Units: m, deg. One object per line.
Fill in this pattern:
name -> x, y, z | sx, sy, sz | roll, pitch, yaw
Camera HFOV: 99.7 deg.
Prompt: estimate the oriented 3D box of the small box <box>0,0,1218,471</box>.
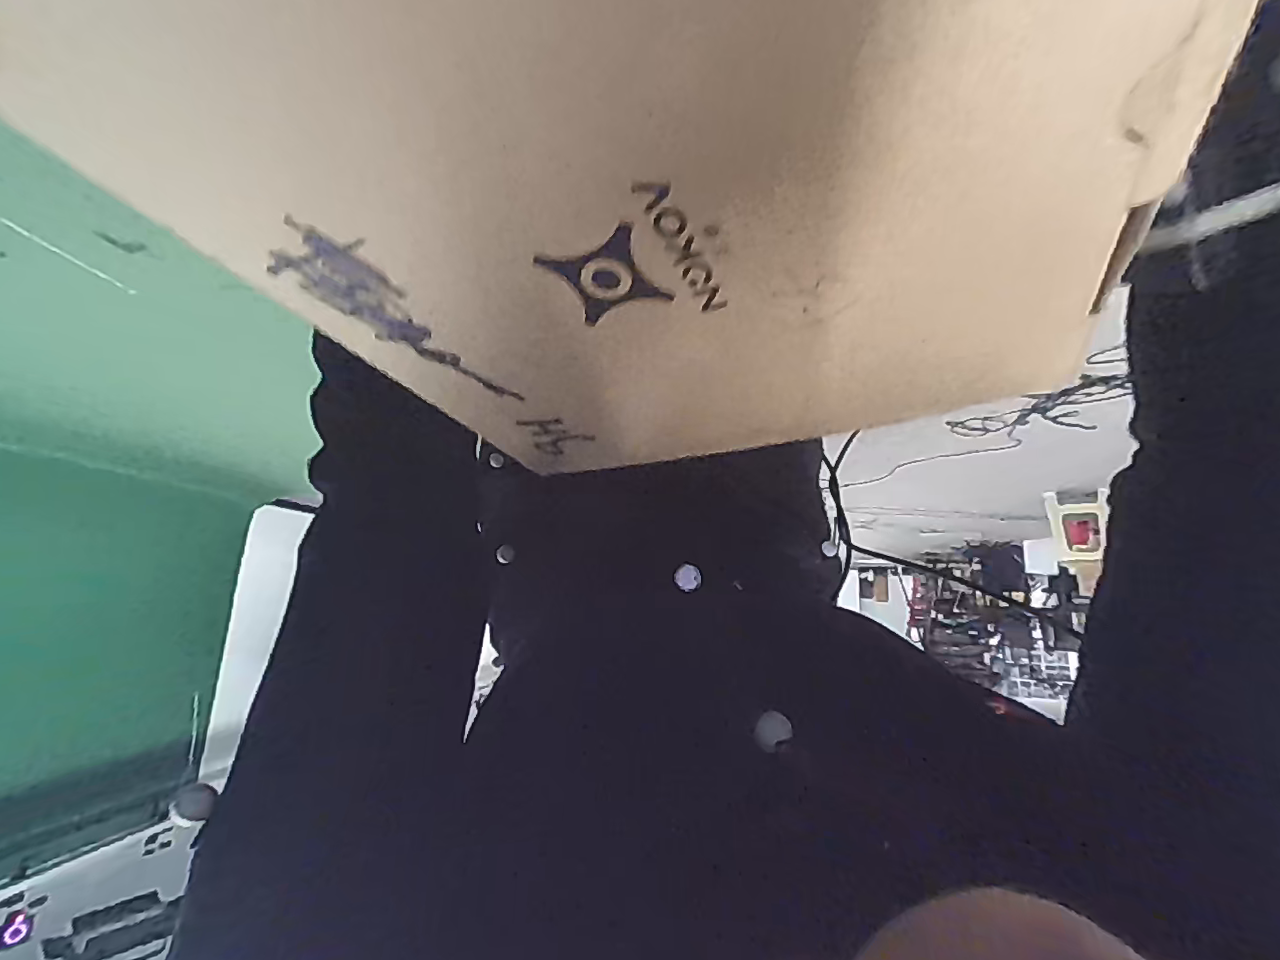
small box -> 0.006, -0.122, 0.145 | 0.179, 0.176, 0.168 | -9, 153, 25
